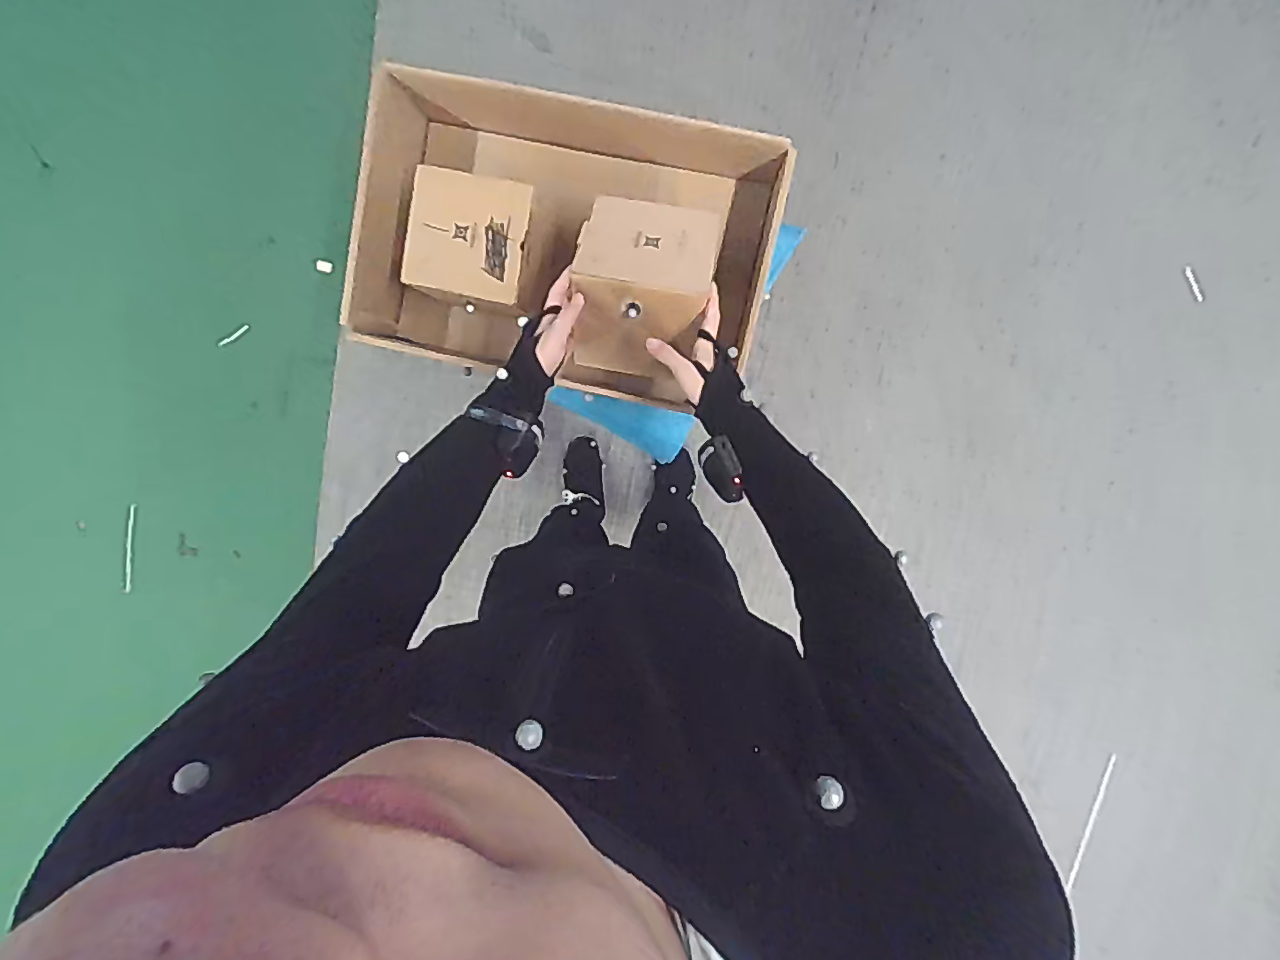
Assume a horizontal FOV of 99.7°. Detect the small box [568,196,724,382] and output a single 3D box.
[{"bbox_3d":[0.008,-0.258,0.749,0.179,0.176,0.168,11,59,2],"label":"small box"}]
